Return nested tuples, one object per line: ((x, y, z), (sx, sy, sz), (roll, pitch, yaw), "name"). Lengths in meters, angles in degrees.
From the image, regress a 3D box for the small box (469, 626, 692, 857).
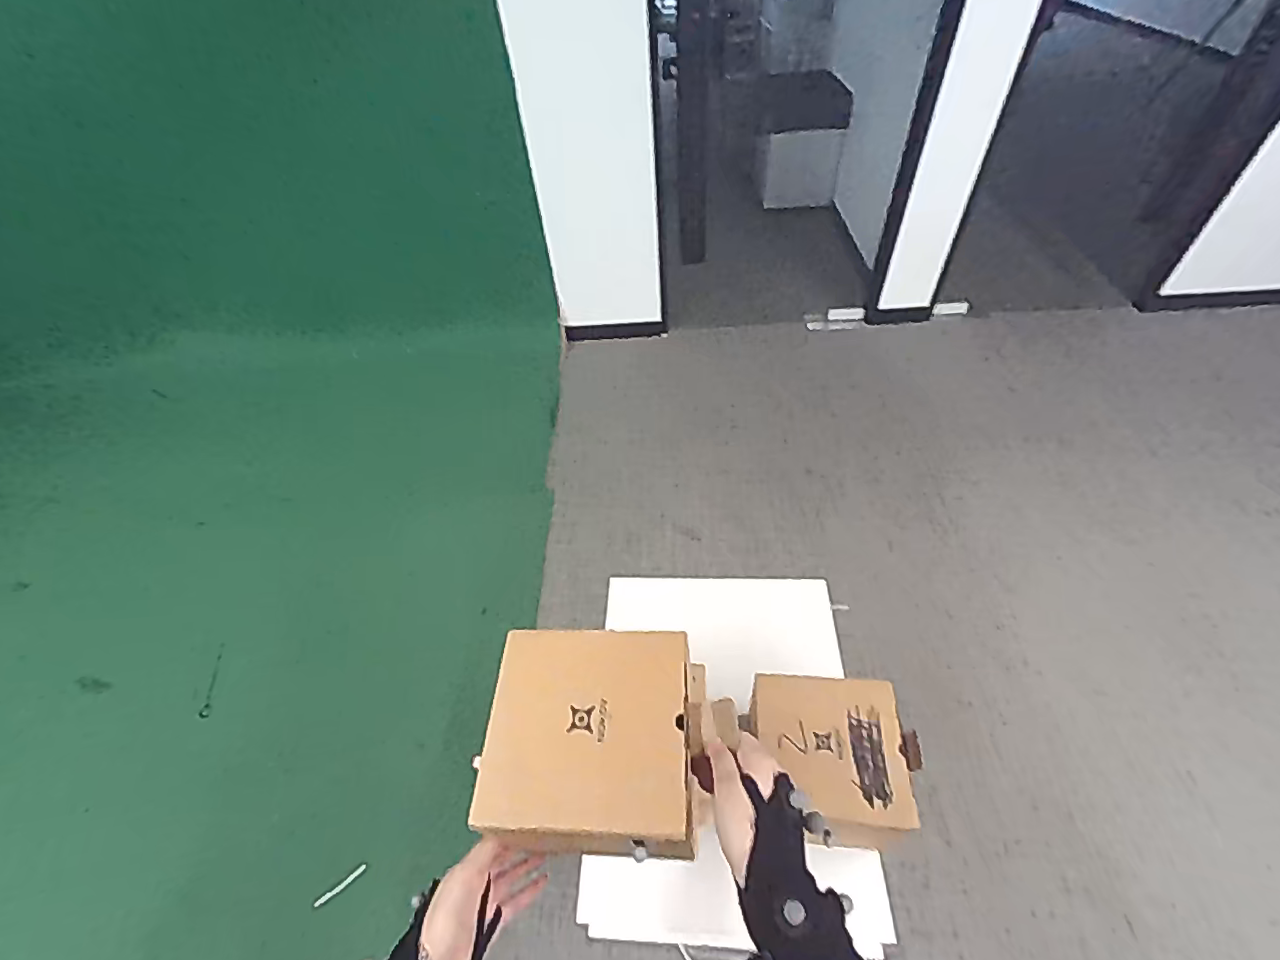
((-0.039, 0.258, 0.530), (0.179, 0.176, 0.168), (-1, 48, 5), "small box")

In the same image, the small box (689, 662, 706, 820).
((0.000, 0.364, 0.750), (0.179, 0.176, 0.168), (1, 48, 4), "small box")
